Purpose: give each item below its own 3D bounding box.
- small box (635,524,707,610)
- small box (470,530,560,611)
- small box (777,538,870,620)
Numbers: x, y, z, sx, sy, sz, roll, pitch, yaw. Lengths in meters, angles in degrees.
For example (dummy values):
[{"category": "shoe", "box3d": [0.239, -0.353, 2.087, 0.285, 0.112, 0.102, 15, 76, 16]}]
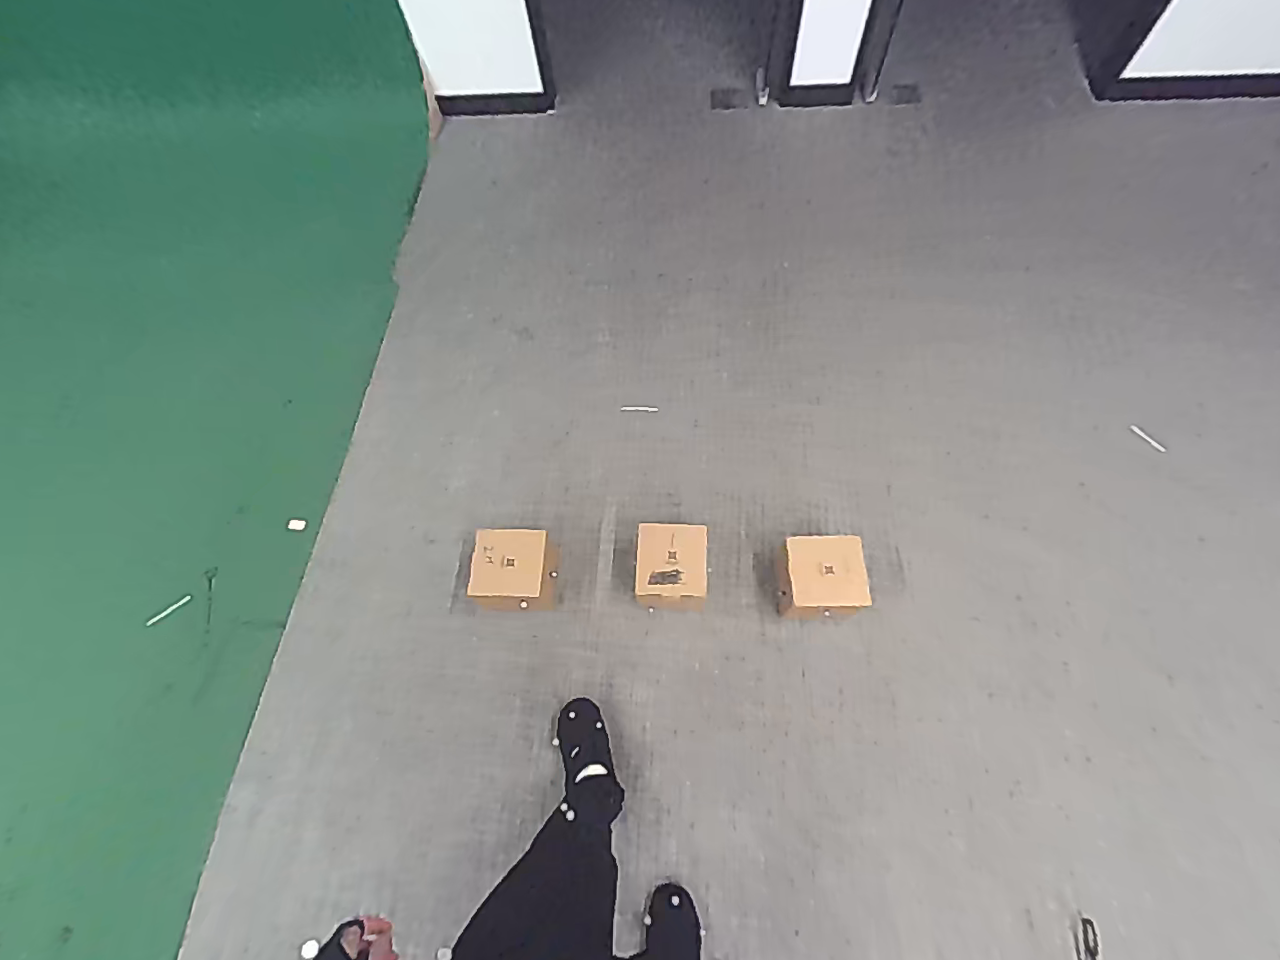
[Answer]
[{"category": "small box", "box3d": [0.081, 0.222, 1.345, 0.168, 0.176, 0.179, 2, 65, 5]}, {"category": "small box", "box3d": [-0.307, 0.232, 1.369, 0.179, 0.176, 0.168, 1, 65, 4]}, {"category": "small box", "box3d": [0.433, 0.244, 1.311, 0.179, 0.176, 0.168, 0, 67, 4]}]
